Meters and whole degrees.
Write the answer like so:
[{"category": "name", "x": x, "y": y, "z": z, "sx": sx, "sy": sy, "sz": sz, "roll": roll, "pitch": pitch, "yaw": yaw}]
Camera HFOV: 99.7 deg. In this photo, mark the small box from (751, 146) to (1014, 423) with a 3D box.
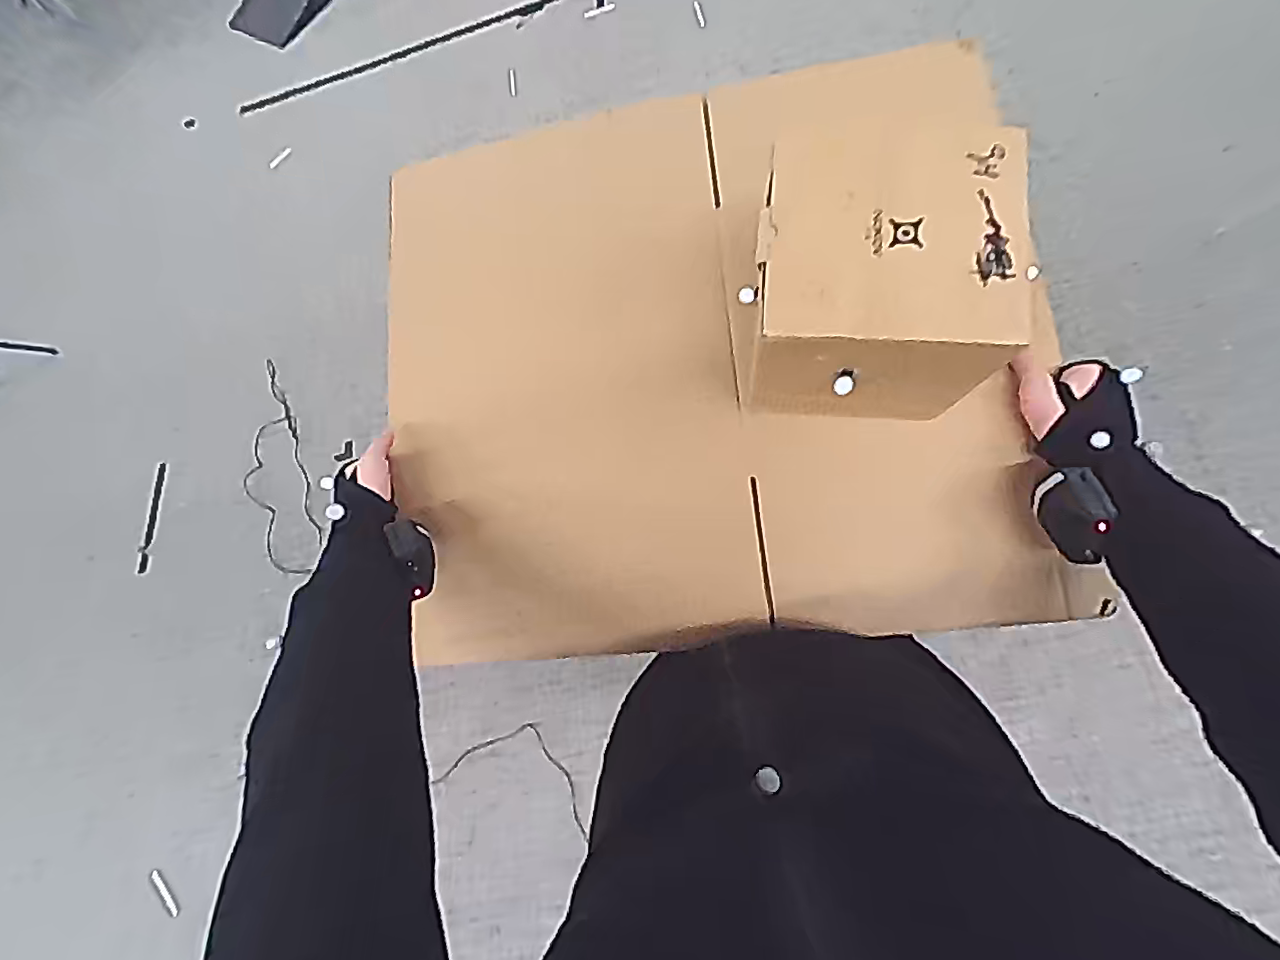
[{"category": "small box", "x": 0.190, "y": -0.153, "z": 0.472, "sx": 0.179, "sy": 0.176, "sz": 0.168, "roll": 4, "pitch": 80, "yaw": 11}]
